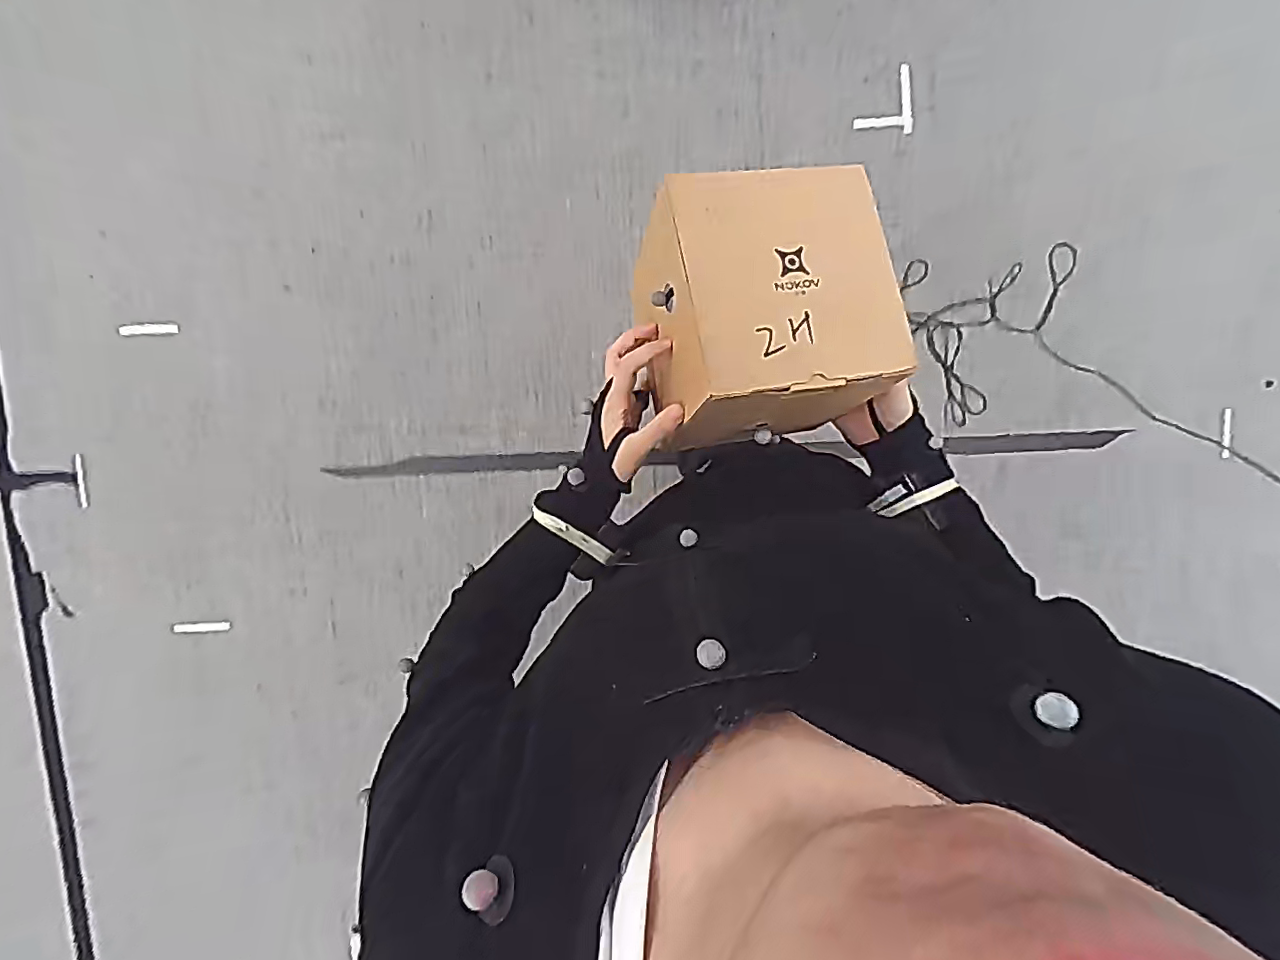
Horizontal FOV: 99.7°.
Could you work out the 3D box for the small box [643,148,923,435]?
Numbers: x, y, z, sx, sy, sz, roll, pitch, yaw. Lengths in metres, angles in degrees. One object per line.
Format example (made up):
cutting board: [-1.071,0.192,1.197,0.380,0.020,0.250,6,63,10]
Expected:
small box: [0.104,-0.151,0.475,0.168,0.176,0.179,-9,82,-10]
